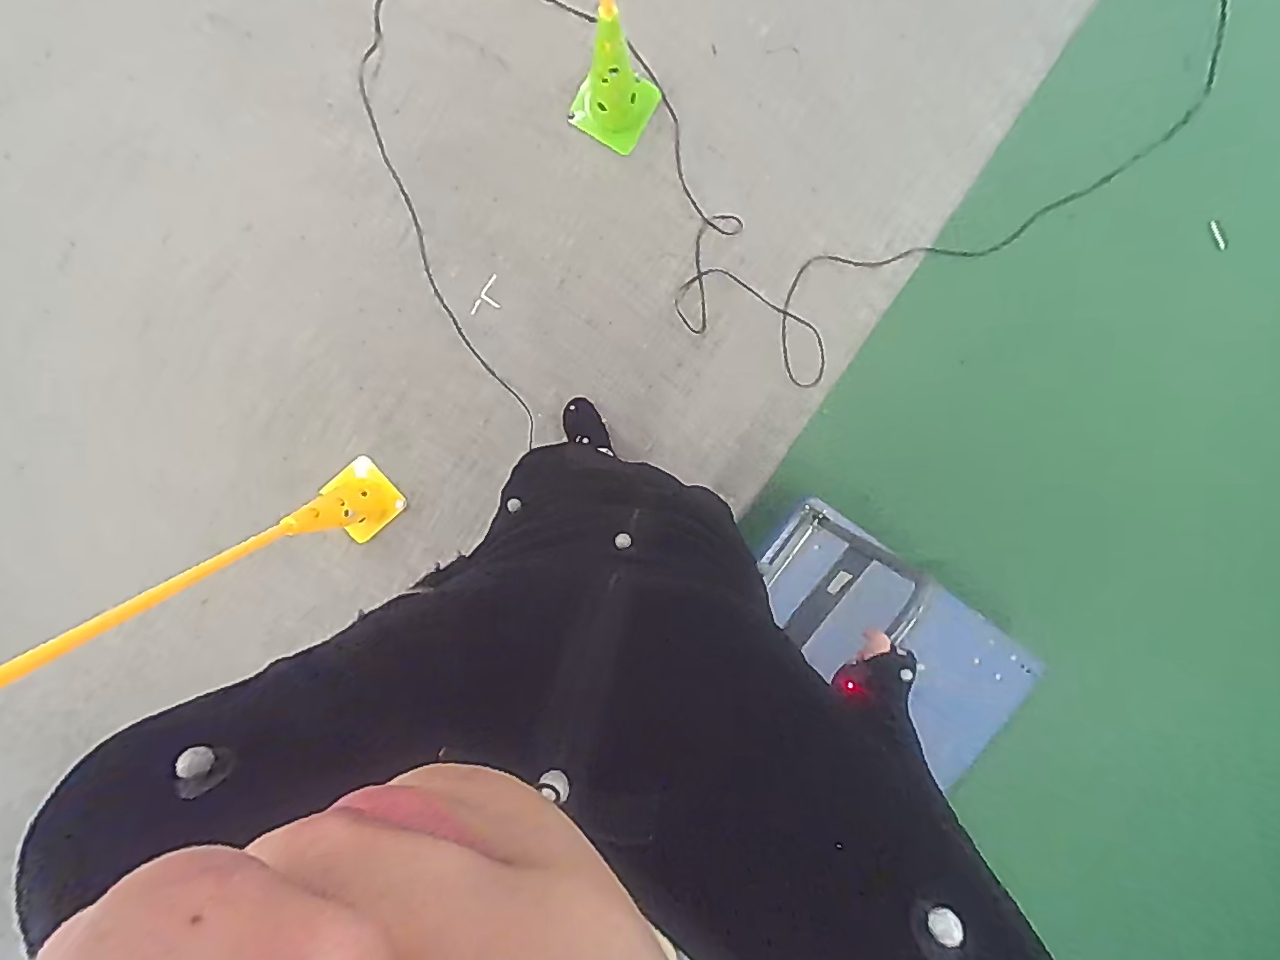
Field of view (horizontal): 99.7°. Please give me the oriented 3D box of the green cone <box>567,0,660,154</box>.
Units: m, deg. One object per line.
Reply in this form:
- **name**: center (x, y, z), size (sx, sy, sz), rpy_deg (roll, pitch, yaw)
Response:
- **green cone**: center (-0.066, -0.996, 1.296), size (0.200, 0.368, 0.202), rpy_deg (29, 95, -5)
